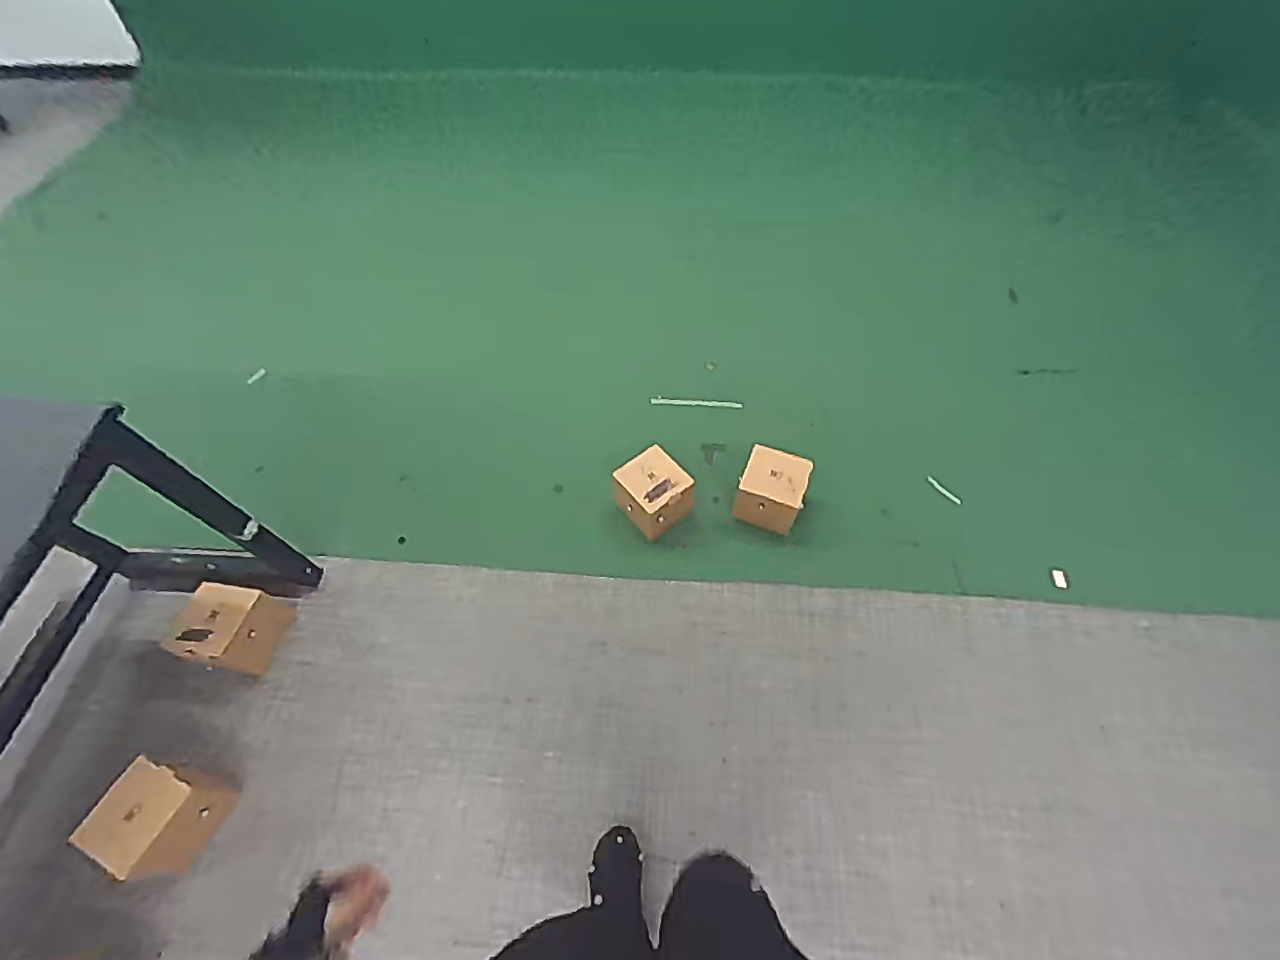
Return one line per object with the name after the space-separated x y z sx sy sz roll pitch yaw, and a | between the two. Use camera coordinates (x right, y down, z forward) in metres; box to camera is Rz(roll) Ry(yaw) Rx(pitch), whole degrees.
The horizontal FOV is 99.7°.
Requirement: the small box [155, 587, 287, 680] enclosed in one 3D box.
-1.051 0.395 1.379 0.168 0.176 0.179 8 57 5 | small box

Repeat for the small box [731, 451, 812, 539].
0.377 0.048 1.577 0.179 0.176 0.168 20 60 13 | small box

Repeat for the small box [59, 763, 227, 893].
-1.043 0.737 1.160 0.168 0.176 0.179 20 61 14 | small box
